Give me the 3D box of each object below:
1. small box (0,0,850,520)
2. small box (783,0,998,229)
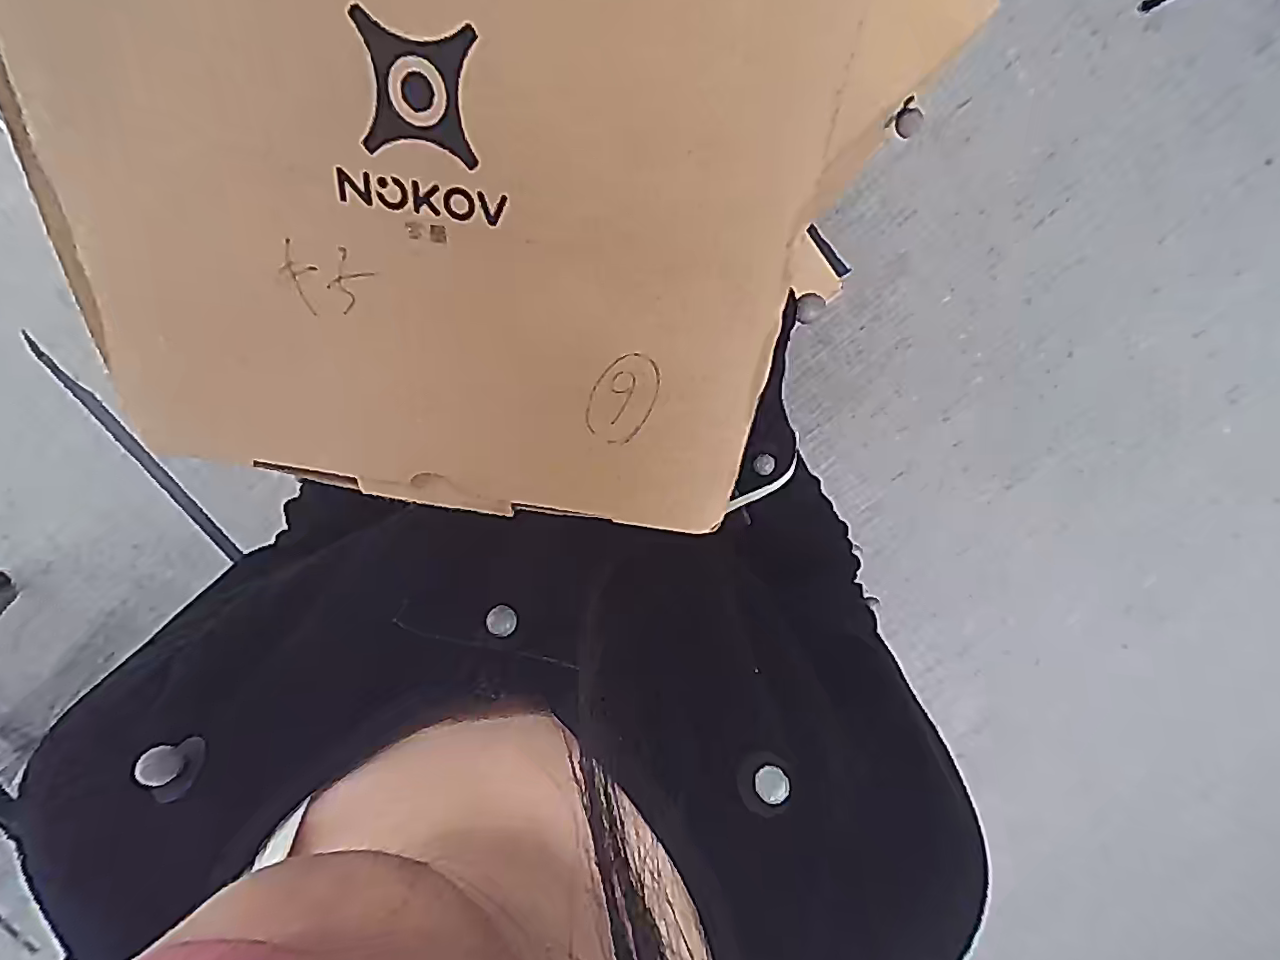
[{"bbox_3d":[-0.044,-0.114,0.181,0.168,0.176,0.179,8,122,-3],"label":"small box"},{"bbox_3d":[0.075,-0.267,0.361,0.179,0.176,0.168,-39,96,13],"label":"small box"}]
